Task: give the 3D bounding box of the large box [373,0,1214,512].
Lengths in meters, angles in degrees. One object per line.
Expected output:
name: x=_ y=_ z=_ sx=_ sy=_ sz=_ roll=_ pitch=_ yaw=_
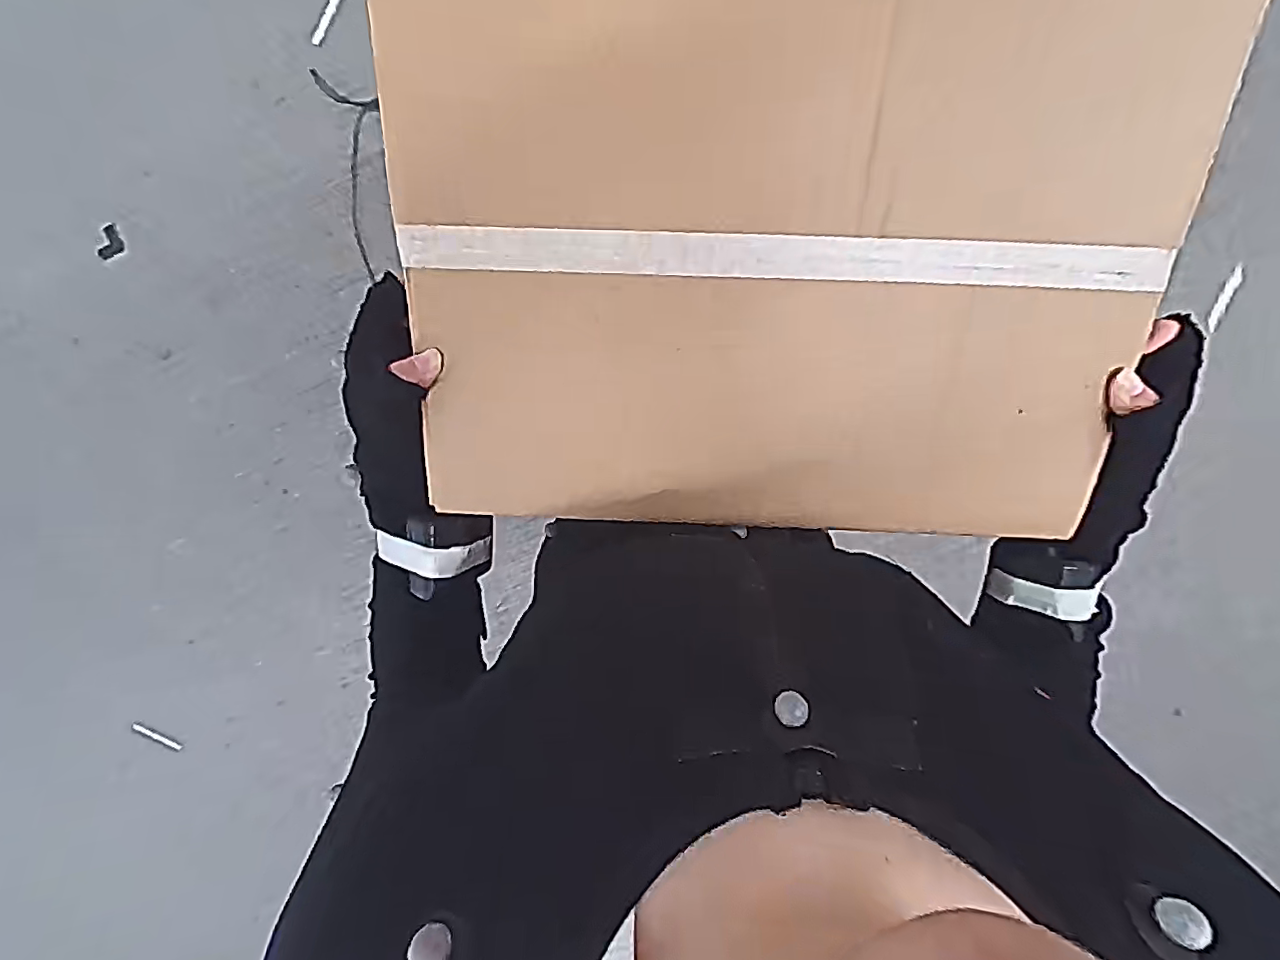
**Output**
large box: x=0.069 y=-0.177 z=0.435 sx=0.408 sy=0.320 sz=0.320 roll=1 pitch=112 yaw=0
